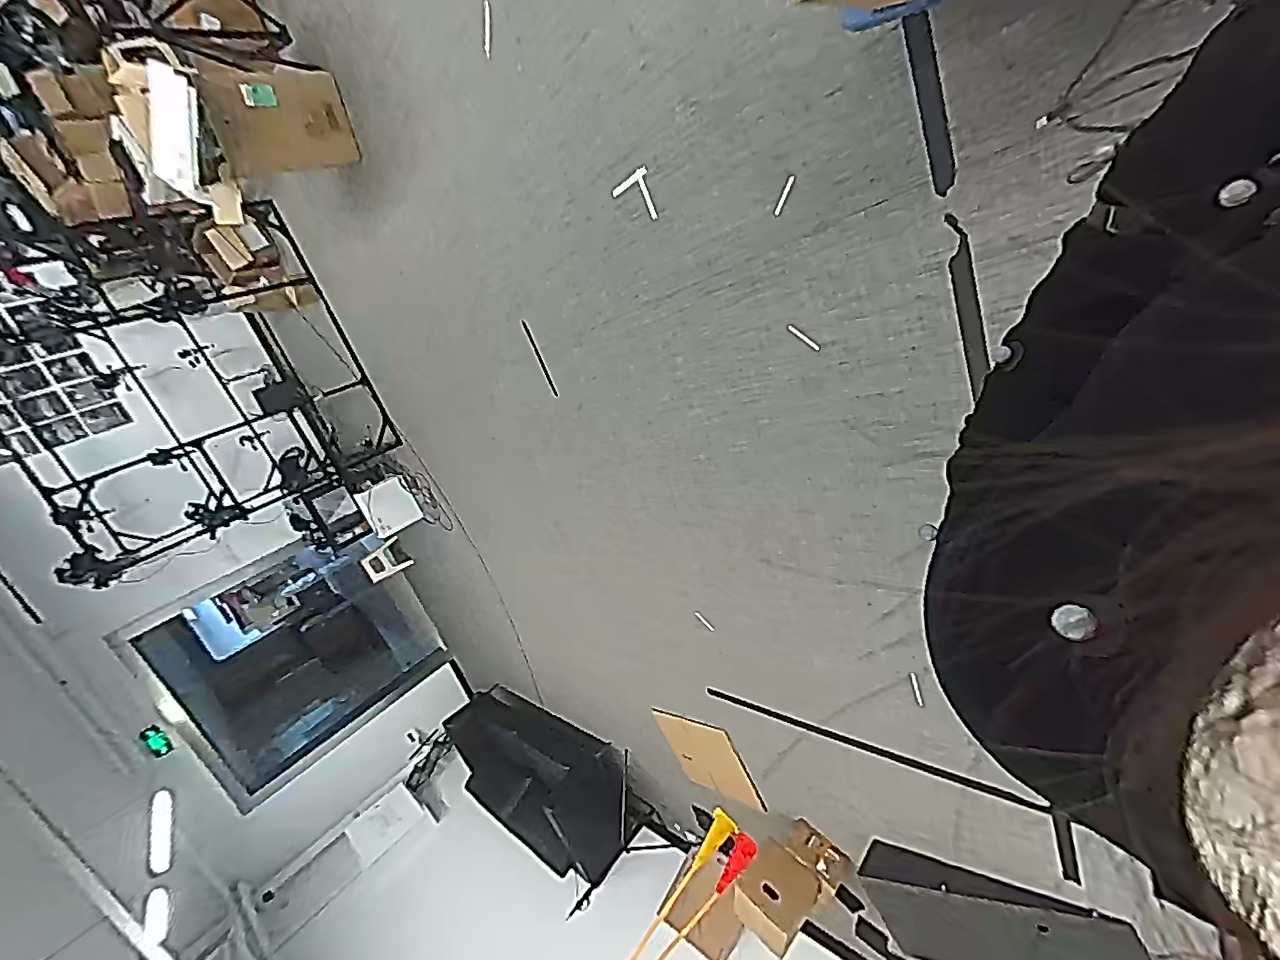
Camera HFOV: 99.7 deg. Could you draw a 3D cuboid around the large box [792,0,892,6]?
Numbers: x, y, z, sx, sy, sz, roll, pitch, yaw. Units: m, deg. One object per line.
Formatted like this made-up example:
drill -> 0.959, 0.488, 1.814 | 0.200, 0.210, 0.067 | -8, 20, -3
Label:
large box -> 0.462, -0.906, 0.742 | 0.408, 0.320, 0.320 | 20, 131, 39
